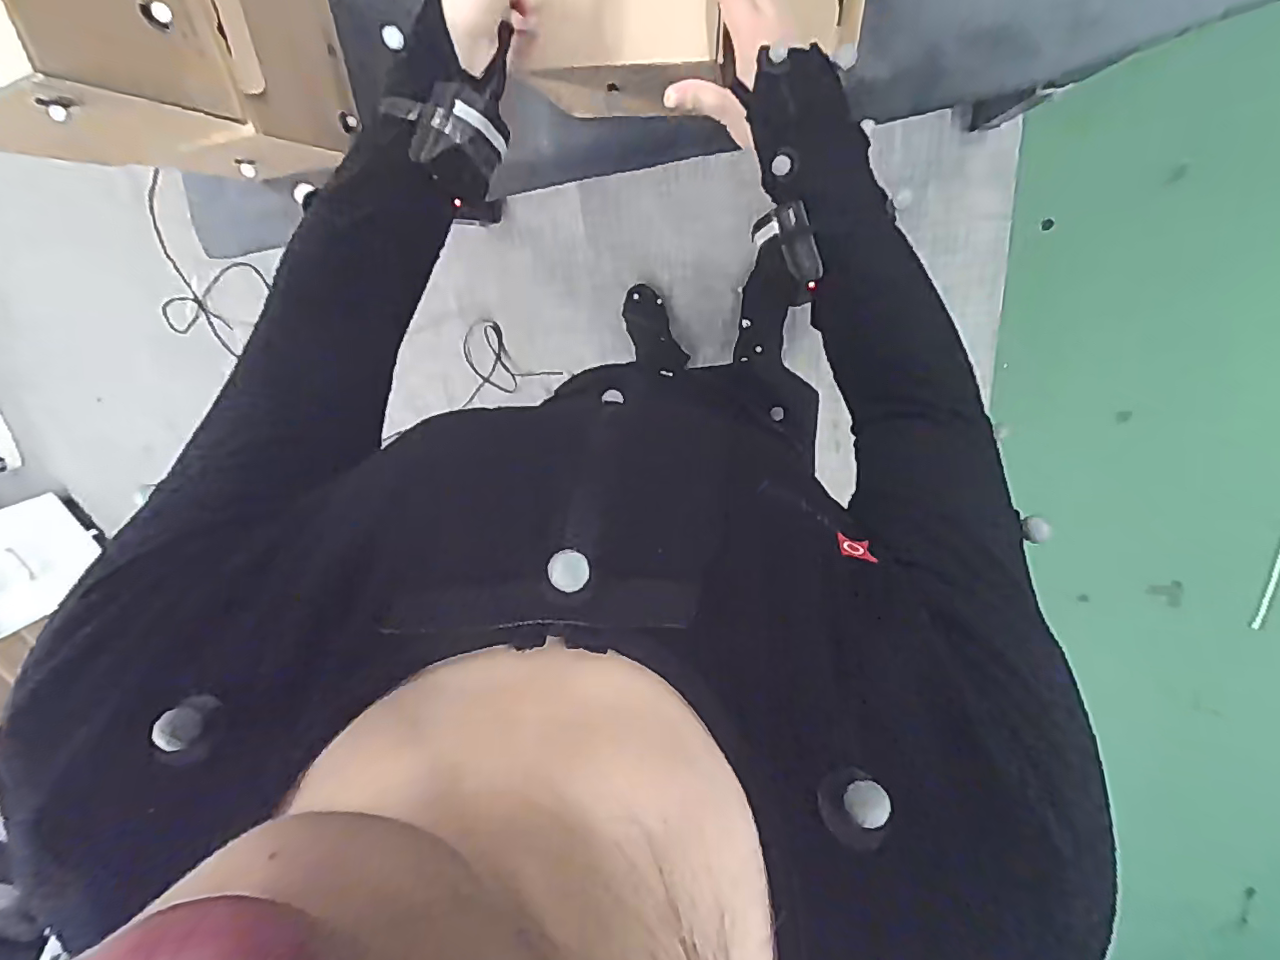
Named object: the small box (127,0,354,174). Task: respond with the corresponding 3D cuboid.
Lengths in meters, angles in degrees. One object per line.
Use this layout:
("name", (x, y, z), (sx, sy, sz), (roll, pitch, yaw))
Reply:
("small box", (-0.441, -0.439, 0.578), (0.179, 0.176, 0.168), (-1, 113, 14))

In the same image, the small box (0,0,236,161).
("small box", (-0.490, -0.376, 0.436), (0.179, 0.176, 0.168), (-6, 112, 15))

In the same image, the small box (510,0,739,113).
("small box", (-0.004, -0.439, 0.477), (0.179, 0.176, 0.168), (5, 114, 10))
